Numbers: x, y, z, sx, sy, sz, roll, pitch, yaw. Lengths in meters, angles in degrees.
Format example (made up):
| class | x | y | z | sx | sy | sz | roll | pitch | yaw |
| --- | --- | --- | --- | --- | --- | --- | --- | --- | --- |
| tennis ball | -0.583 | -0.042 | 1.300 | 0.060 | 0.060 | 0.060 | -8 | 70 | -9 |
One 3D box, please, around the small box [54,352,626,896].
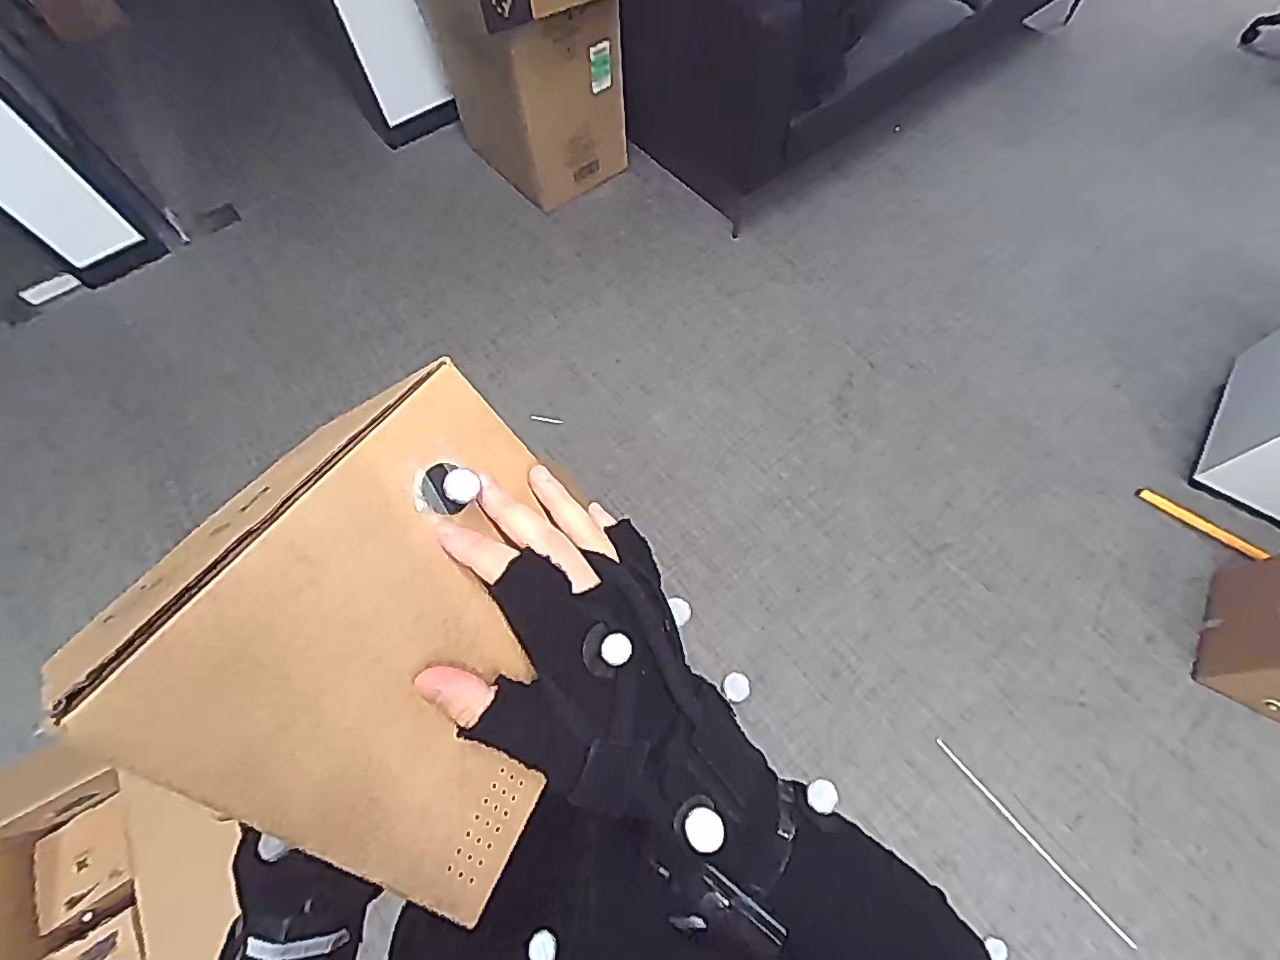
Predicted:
| class | x | y | z | sx | sy | sz | roll | pitch | yaw |
| --- | --- | --- | --- | --- | --- | --- | --- | --- | --- |
| small box | -0.132 | 0.068 | 0.285 | 0.168 | 0.176 | 0.179 | -10 | 39 | 41 |
